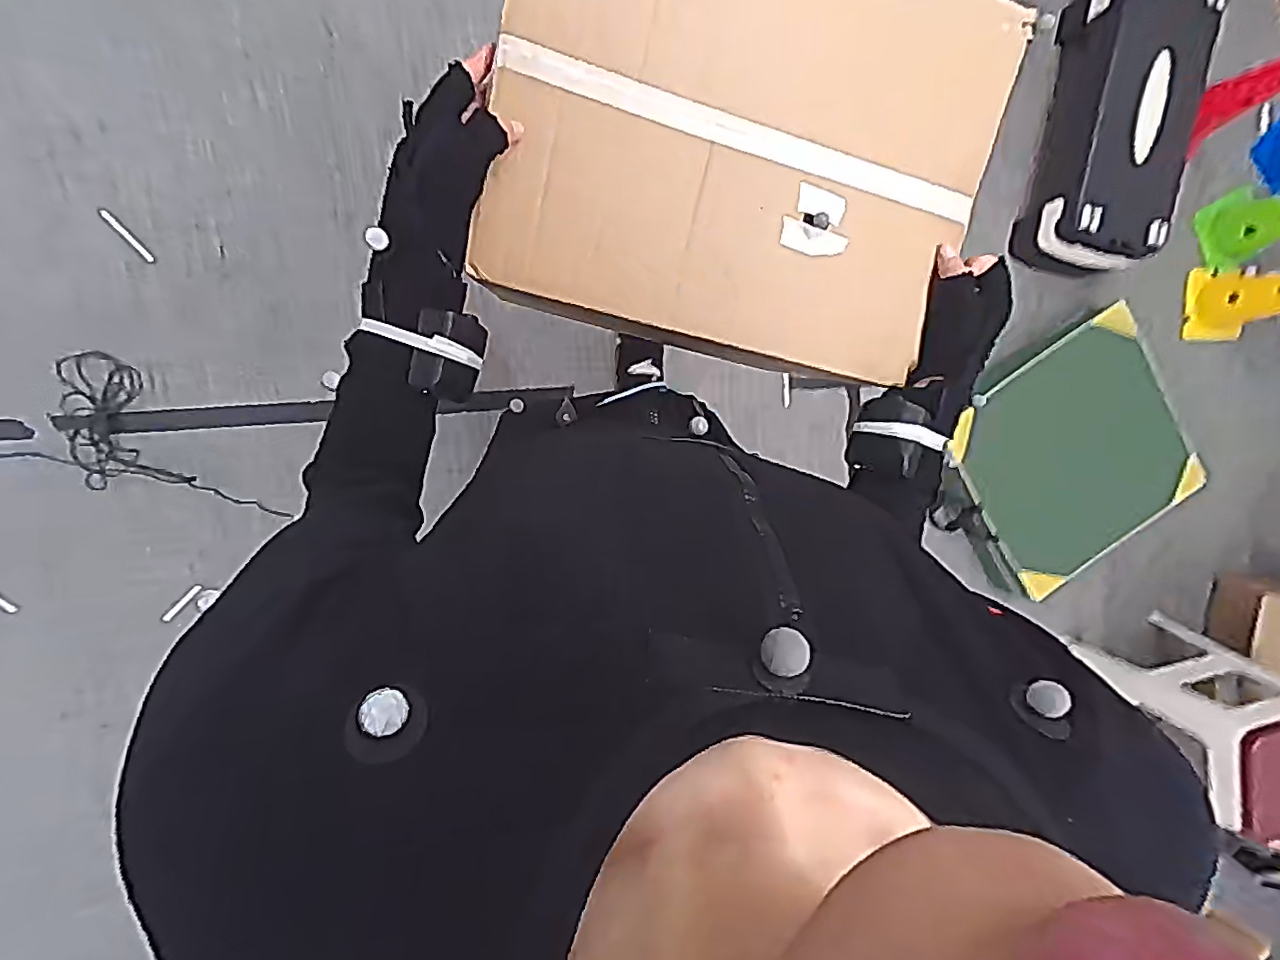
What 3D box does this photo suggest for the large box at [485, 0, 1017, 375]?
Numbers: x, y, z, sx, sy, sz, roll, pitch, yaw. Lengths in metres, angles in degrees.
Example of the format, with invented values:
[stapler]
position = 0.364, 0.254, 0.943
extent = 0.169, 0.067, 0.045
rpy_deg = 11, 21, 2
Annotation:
[large box]
position = 0.069, -0.316, 0.584
extent = 0.408, 0.320, 0.320
rpy_deg = 11, 104, -13
